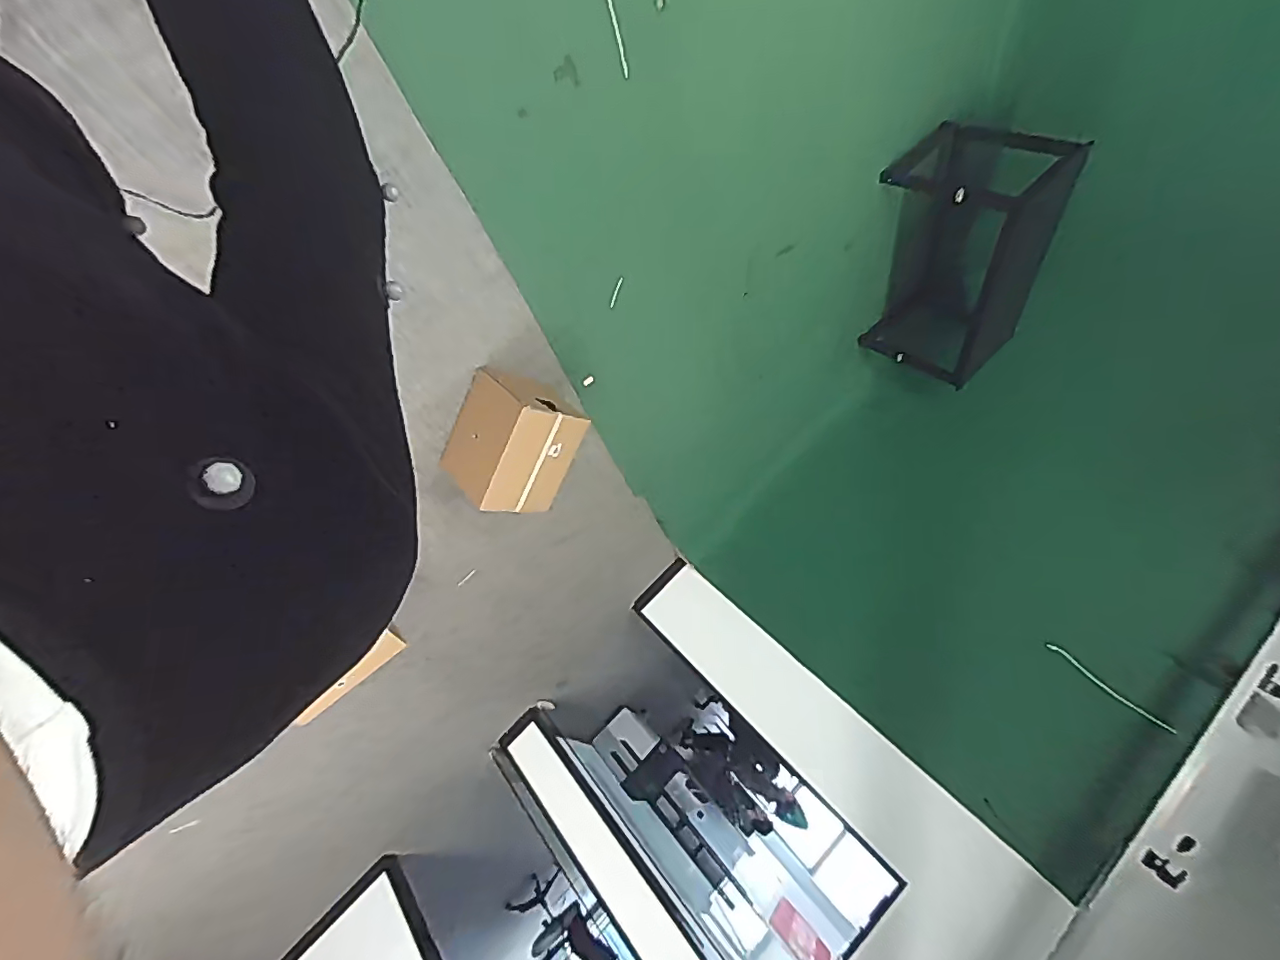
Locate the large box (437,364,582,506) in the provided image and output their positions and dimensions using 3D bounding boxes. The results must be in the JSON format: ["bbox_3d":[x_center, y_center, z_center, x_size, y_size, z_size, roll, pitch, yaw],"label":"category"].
[{"bbox_3d":[-0.482,-0.153,1.969,0.320,0.320,0.408,4,118,-53],"label":"large box"}]
